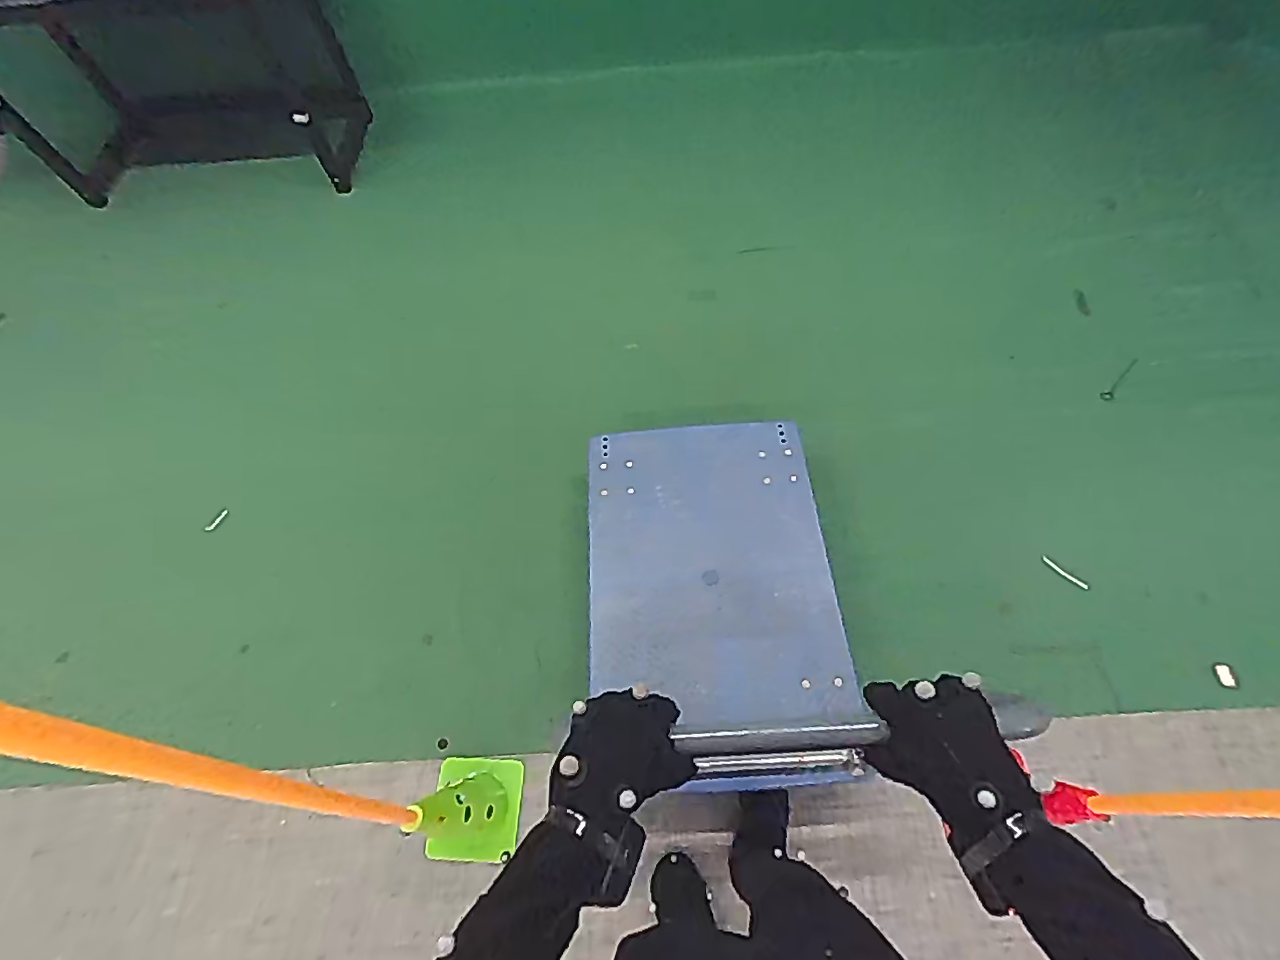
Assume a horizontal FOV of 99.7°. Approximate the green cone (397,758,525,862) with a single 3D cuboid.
[{"bbox_3d":[-0.383,0.666,1.090,0.202,0.368,0.200,0,60,5],"label":"green cone"}]
